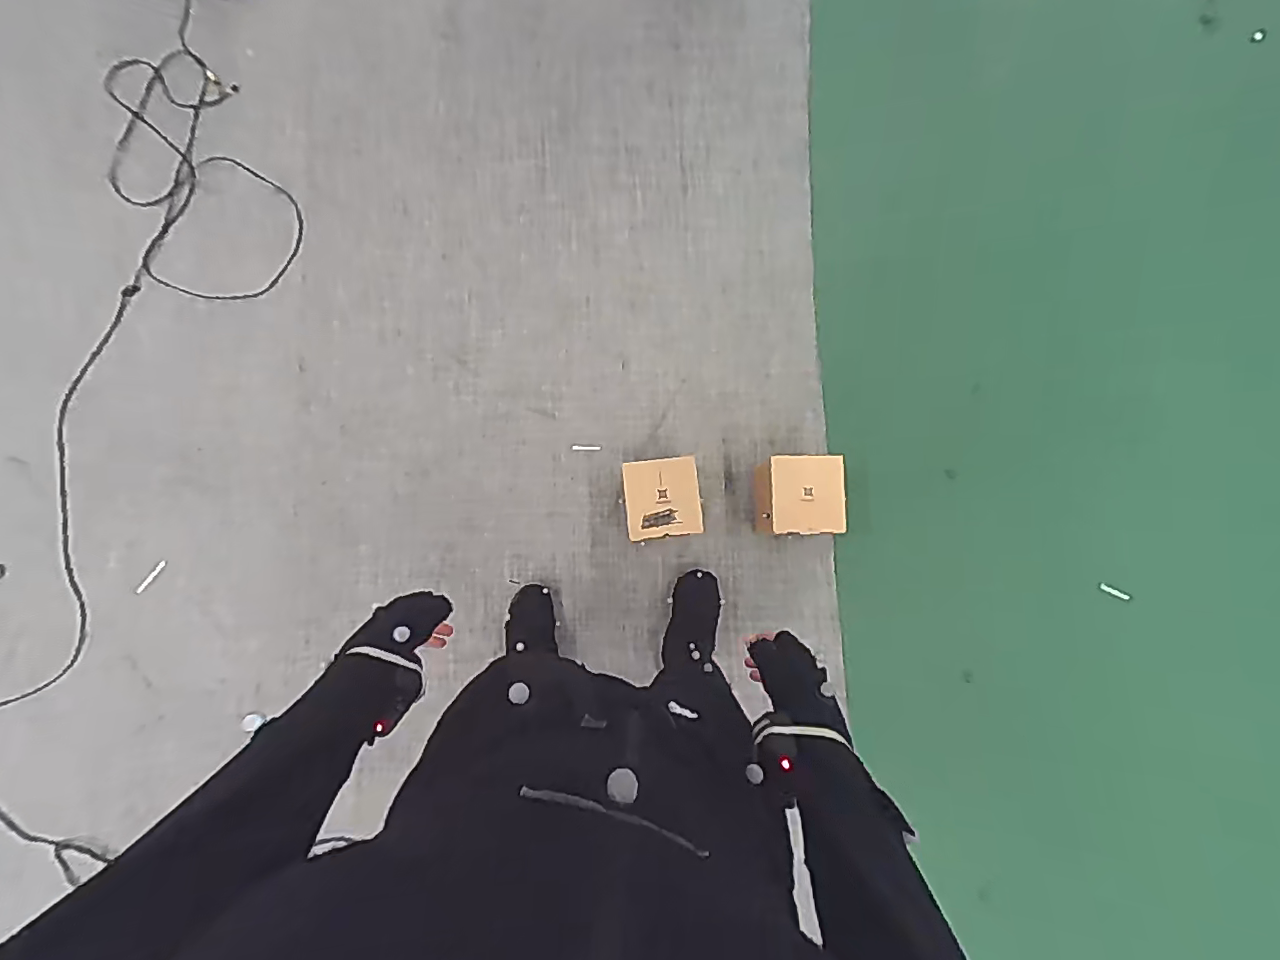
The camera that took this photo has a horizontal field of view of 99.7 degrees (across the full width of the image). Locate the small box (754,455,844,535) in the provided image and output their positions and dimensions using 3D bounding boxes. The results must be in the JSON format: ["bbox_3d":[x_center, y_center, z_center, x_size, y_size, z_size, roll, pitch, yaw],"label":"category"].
[{"bbox_3d":[0.372,0.041,1.289,0.168,0.176,0.179,0,84,-1],"label":"small box"}]

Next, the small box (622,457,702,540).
[{"bbox_3d":[0.048,0.049,1.278,0.168,0.176,0.179,-6,83,-2],"label":"small box"}]
